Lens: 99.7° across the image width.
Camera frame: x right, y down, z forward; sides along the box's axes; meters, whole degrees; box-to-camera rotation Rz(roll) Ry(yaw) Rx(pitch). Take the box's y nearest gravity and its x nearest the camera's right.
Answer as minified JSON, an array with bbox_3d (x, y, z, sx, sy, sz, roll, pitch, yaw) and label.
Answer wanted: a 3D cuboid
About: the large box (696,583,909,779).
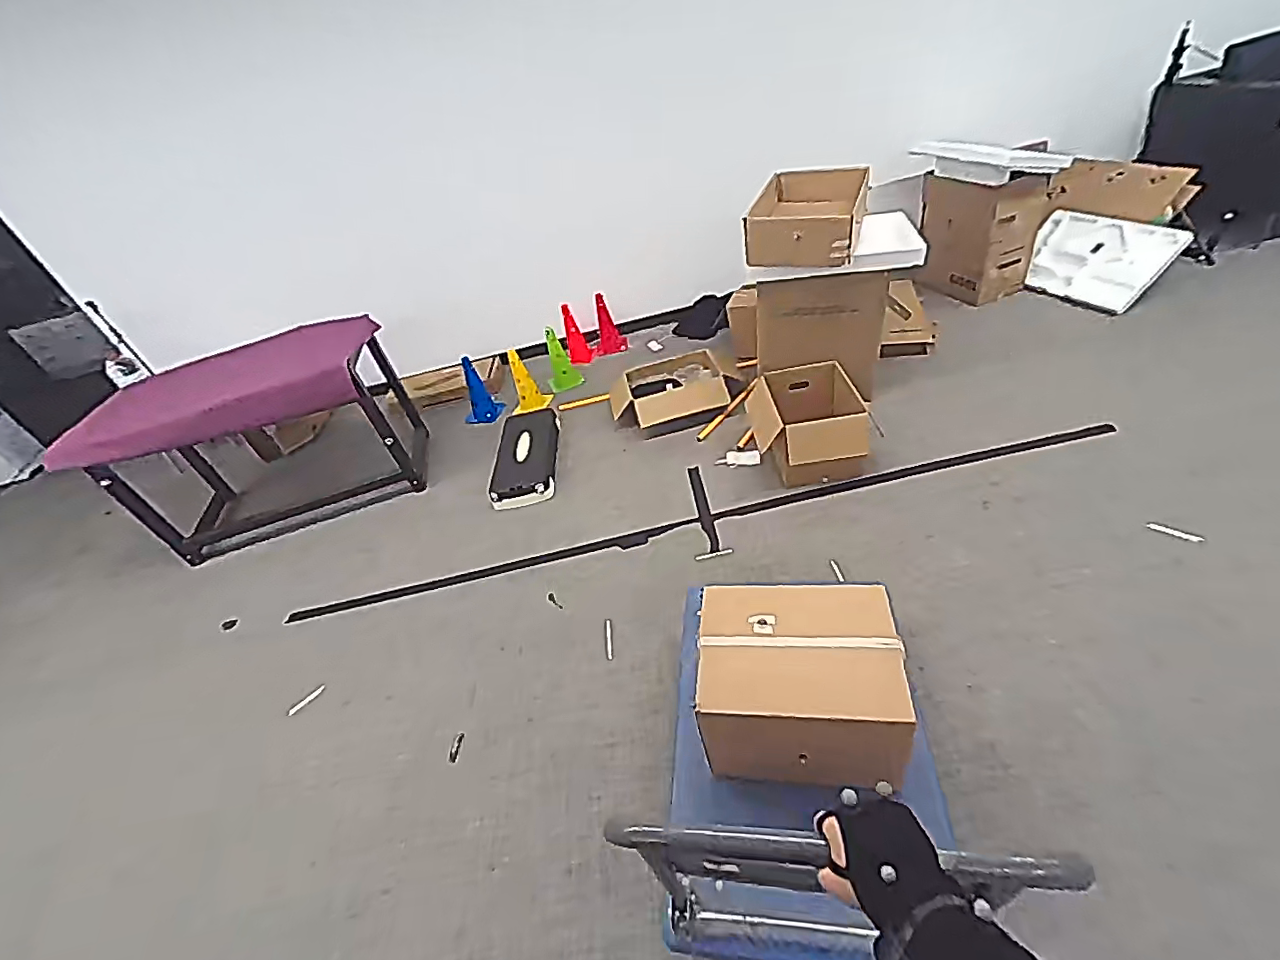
[{"bbox_3d":[0.355,0.462,1.241,0.408,0.320,0.320,-5,39,14],"label":"large box"}]
